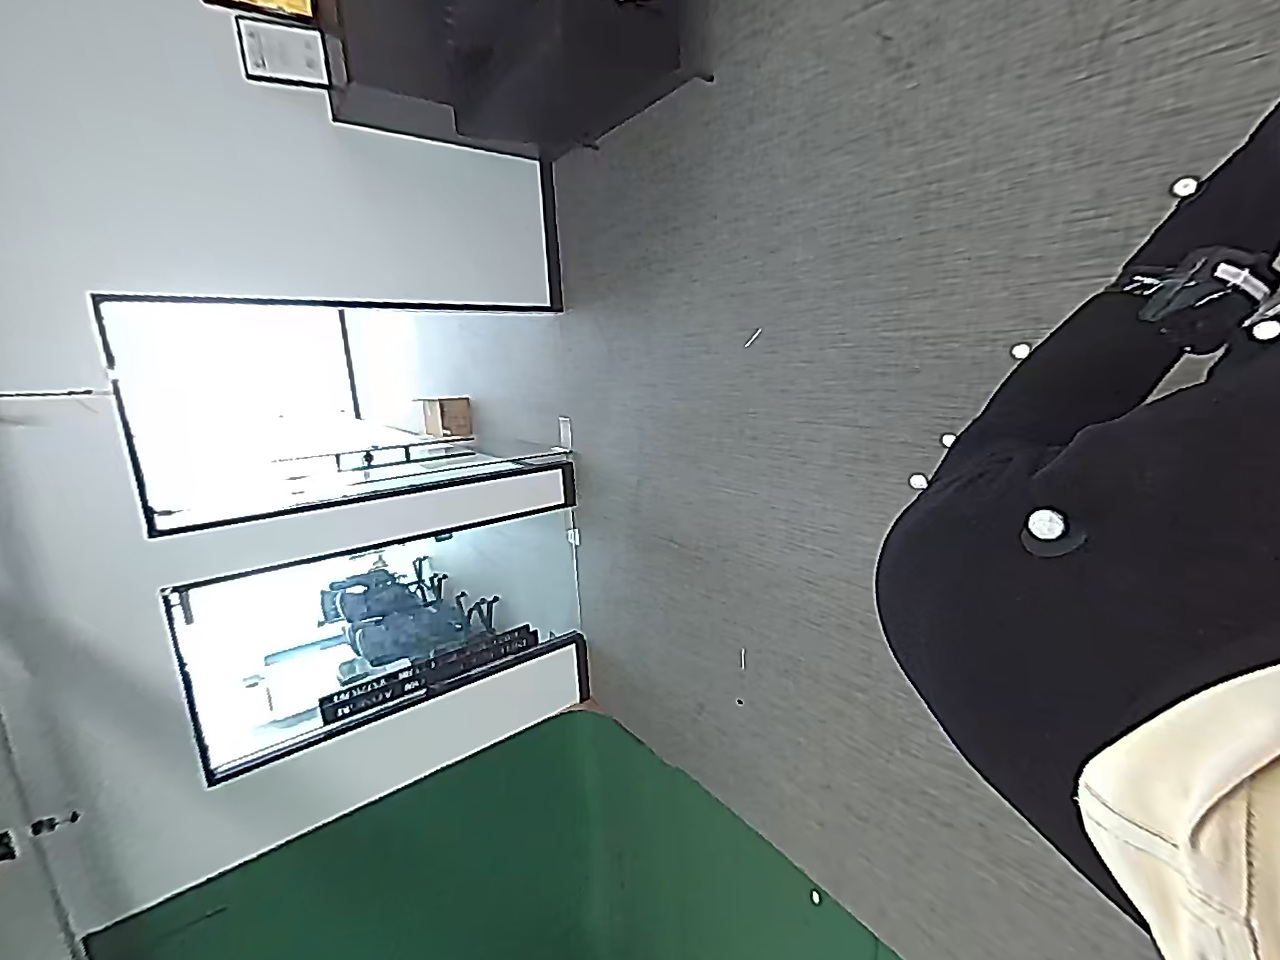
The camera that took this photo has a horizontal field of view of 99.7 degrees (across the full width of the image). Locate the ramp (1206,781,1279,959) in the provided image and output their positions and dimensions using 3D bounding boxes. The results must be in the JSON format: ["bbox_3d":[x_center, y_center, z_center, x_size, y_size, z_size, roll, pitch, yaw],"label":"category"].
[{"bbox_3d":[1.448,1.184,1.061,0.509,0.206,0.991,10,107,54],"label":"ramp"}]
